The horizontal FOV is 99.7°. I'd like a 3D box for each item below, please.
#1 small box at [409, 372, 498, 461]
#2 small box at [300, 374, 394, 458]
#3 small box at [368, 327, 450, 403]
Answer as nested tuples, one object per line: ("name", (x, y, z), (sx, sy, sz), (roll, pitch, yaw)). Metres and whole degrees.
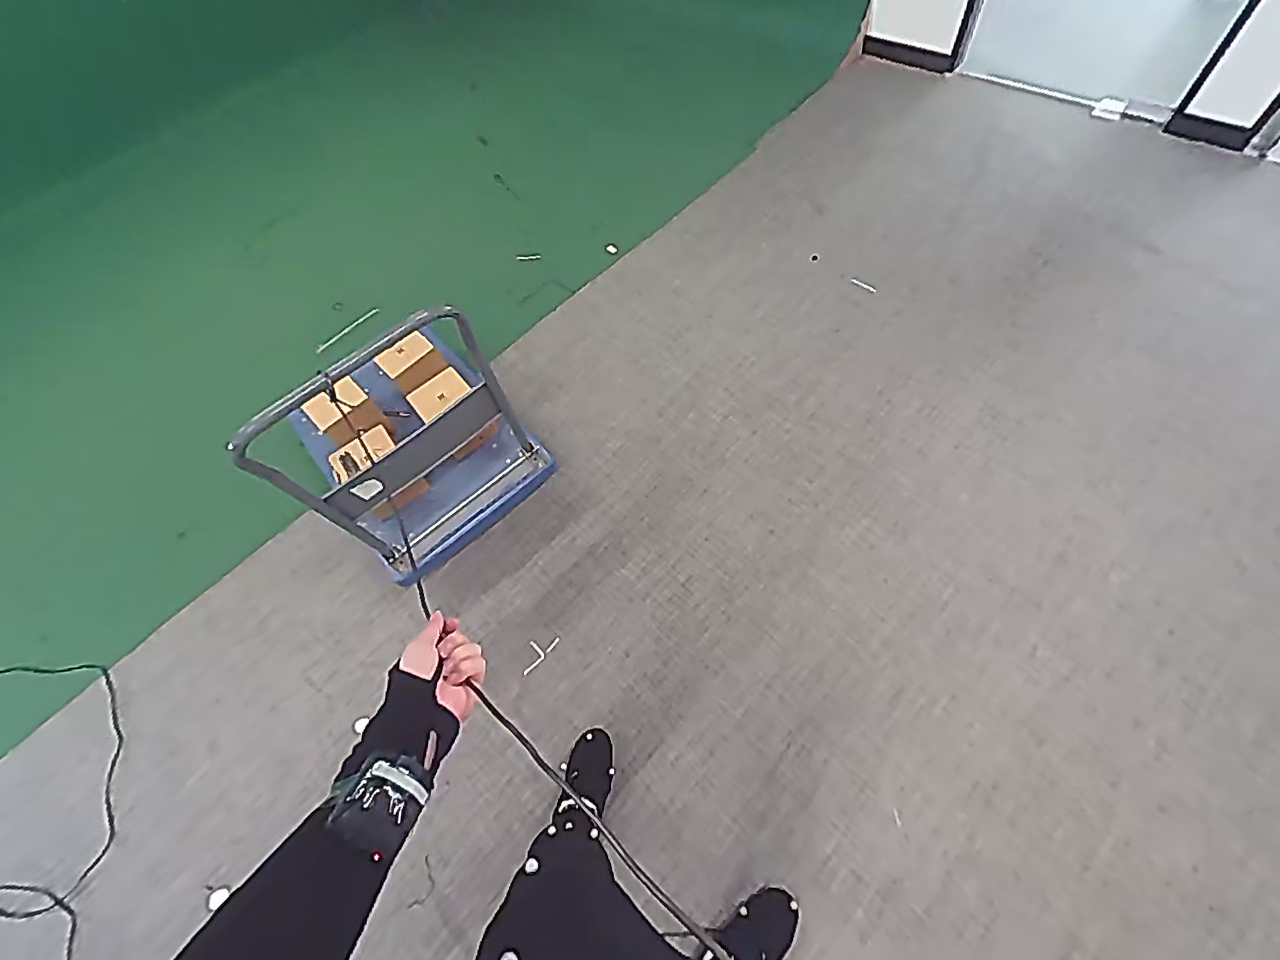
("small box", (-0.569, -0.192, 1.665), (0.168, 0.176, 0.179), (-39, 64, -13))
("small box", (-0.921, -0.195, 1.716), (0.168, 0.176, 0.179), (-43, 64, -15))
("small box", (-0.745, -0.362, 1.780), (0.168, 0.176, 0.179), (-43, 65, -14))
